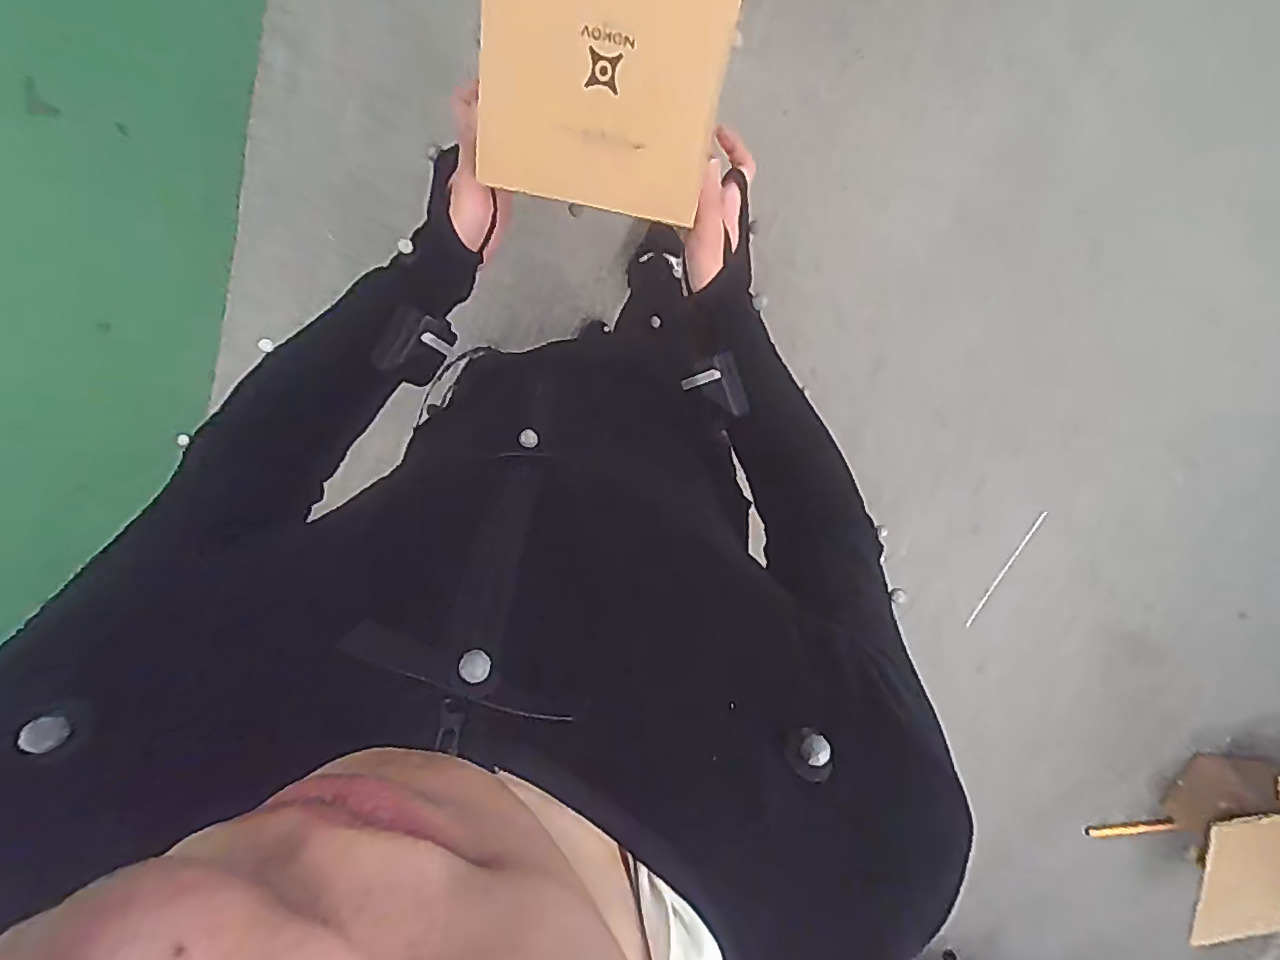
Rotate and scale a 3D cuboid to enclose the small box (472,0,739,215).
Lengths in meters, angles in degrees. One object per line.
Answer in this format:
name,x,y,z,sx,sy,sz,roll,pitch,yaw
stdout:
small box,-0.025,-0.324,0.426,0.168,0.176,0.179,9,119,-5
